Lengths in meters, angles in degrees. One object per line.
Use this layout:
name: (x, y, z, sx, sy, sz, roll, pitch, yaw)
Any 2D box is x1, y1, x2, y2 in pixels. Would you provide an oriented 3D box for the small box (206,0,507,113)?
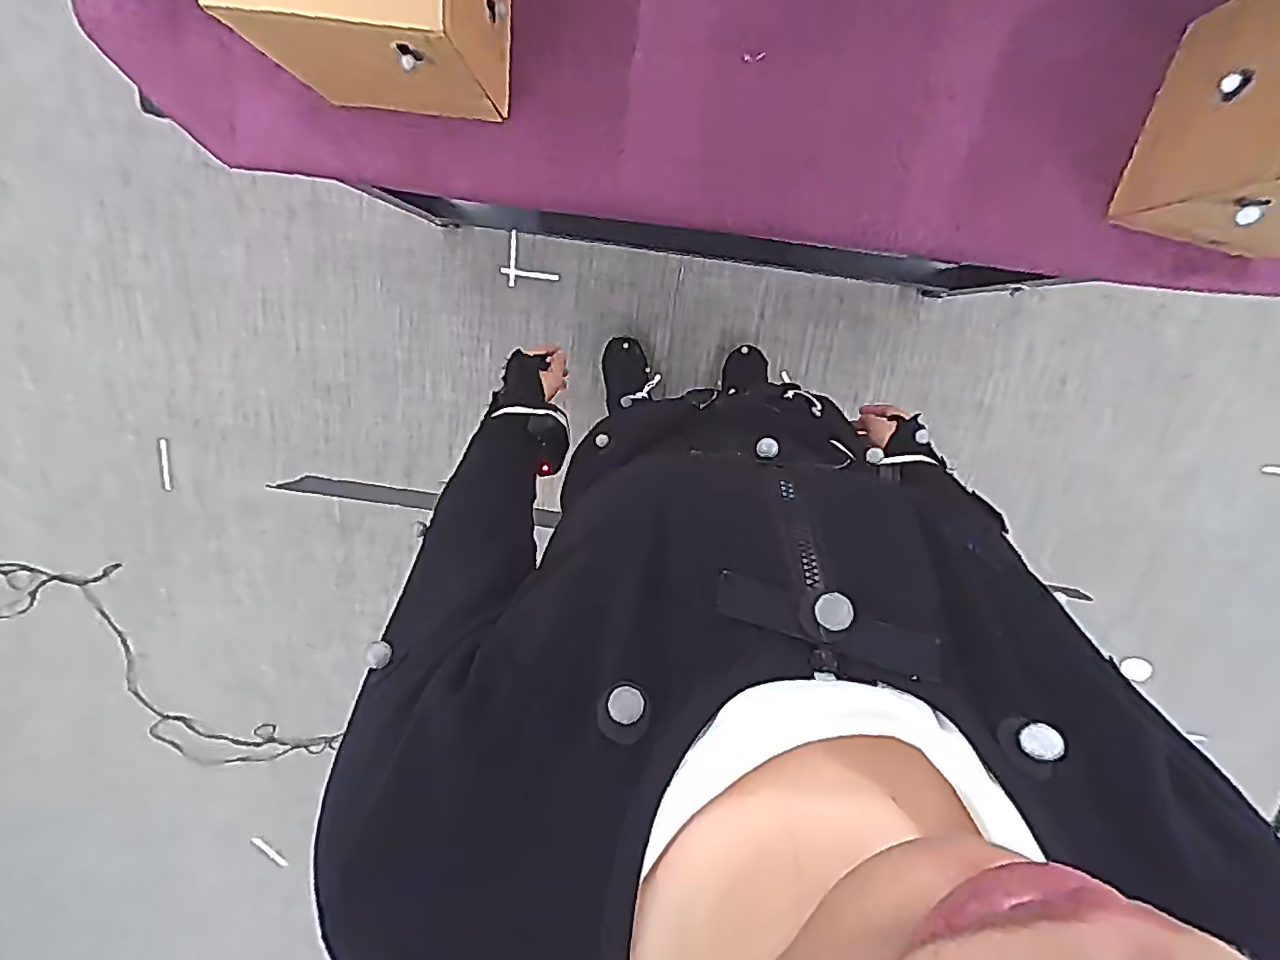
small box: (-0.215, -0.425, 0.438, 0.179, 0.176, 0.168, 5, 105, -1)
